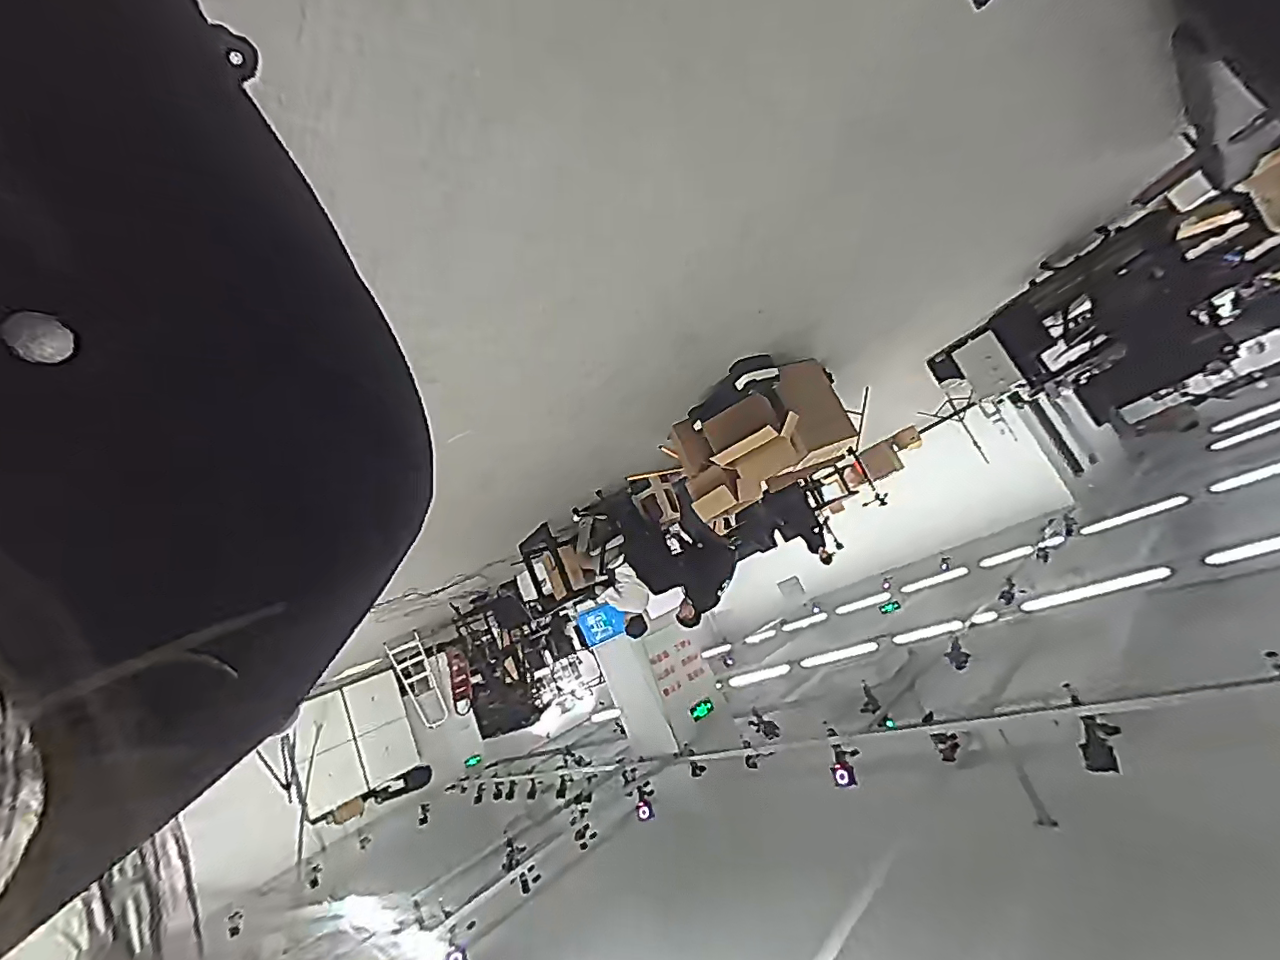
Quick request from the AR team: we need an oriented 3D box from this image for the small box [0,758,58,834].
[{"bbox_3d":[-1.856,0.946,1.581,0.179,0.176,0.168,-14,163,-43],"label":"small box"}]
